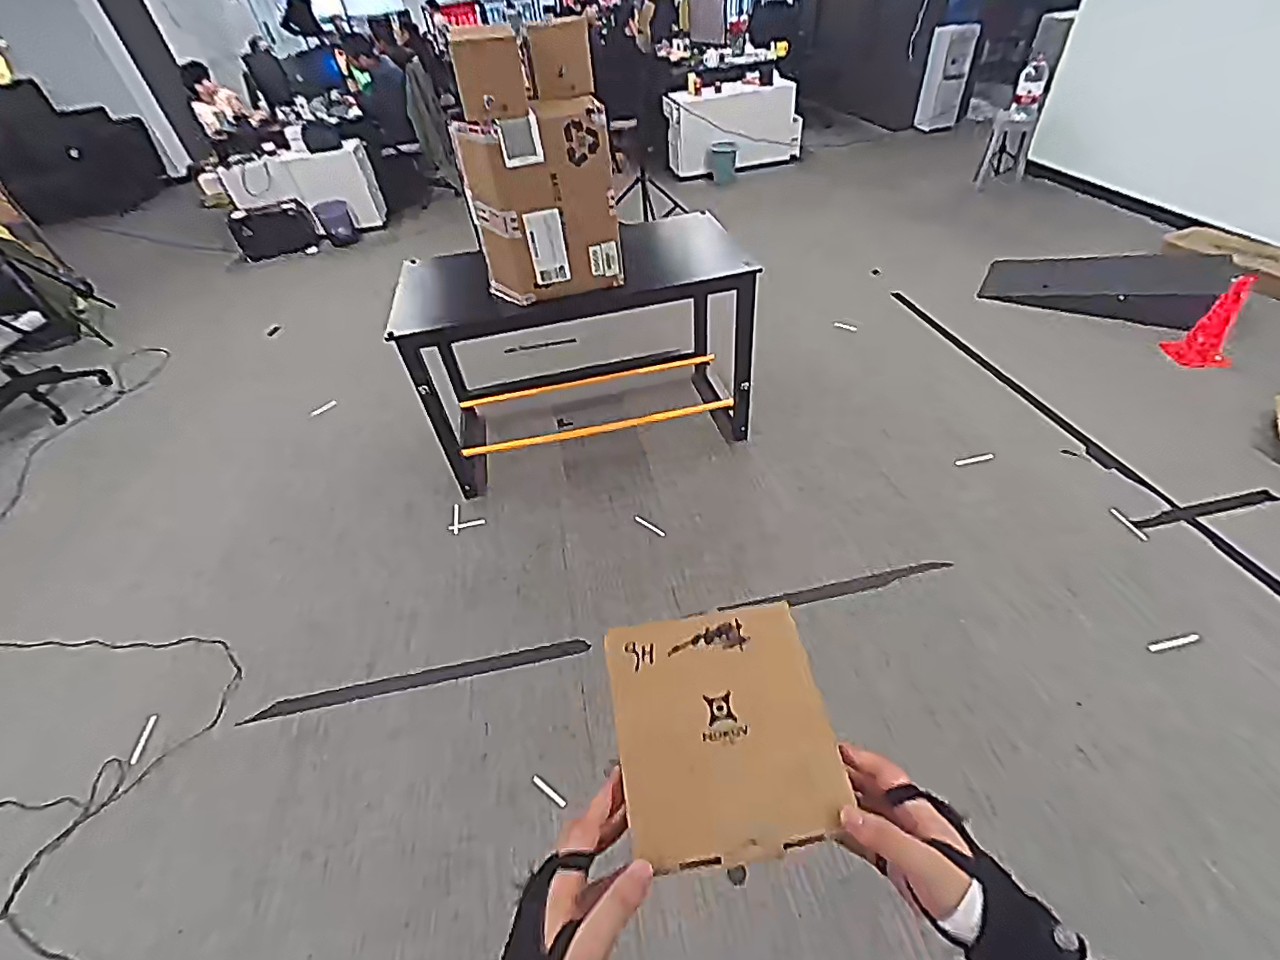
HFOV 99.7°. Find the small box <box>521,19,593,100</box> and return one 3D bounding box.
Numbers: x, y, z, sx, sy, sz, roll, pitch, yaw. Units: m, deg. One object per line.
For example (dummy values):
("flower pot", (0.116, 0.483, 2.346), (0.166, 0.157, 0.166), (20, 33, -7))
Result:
("small box", (-0.240, -1.218, 1.568), (0.168, 0.176, 0.179), (-14, 43, -8))

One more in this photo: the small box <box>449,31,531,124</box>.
("small box", (-0.386, -1.037, 1.395), (0.168, 0.176, 0.179), (-14, 46, -9))
